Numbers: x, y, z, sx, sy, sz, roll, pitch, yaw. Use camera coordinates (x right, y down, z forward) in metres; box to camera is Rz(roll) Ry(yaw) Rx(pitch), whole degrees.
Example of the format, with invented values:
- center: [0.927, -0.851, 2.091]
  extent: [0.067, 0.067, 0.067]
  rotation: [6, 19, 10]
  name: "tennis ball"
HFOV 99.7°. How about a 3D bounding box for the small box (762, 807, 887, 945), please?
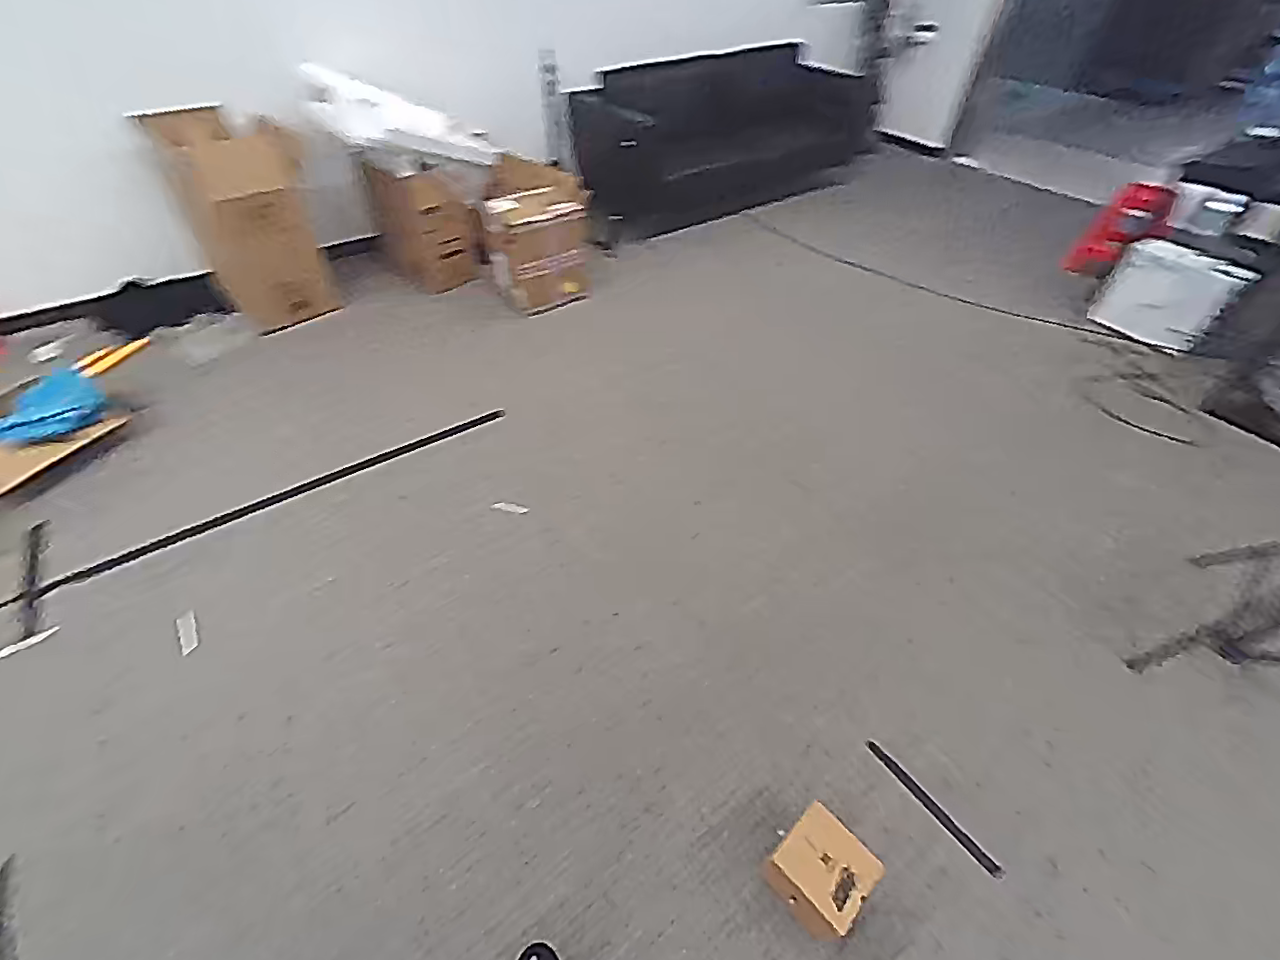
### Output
- center: [0.392, 0.859, 1.171]
  extent: [0.168, 0.176, 0.179]
  rotation: [-32, 53, -29]
  name: "small box"
